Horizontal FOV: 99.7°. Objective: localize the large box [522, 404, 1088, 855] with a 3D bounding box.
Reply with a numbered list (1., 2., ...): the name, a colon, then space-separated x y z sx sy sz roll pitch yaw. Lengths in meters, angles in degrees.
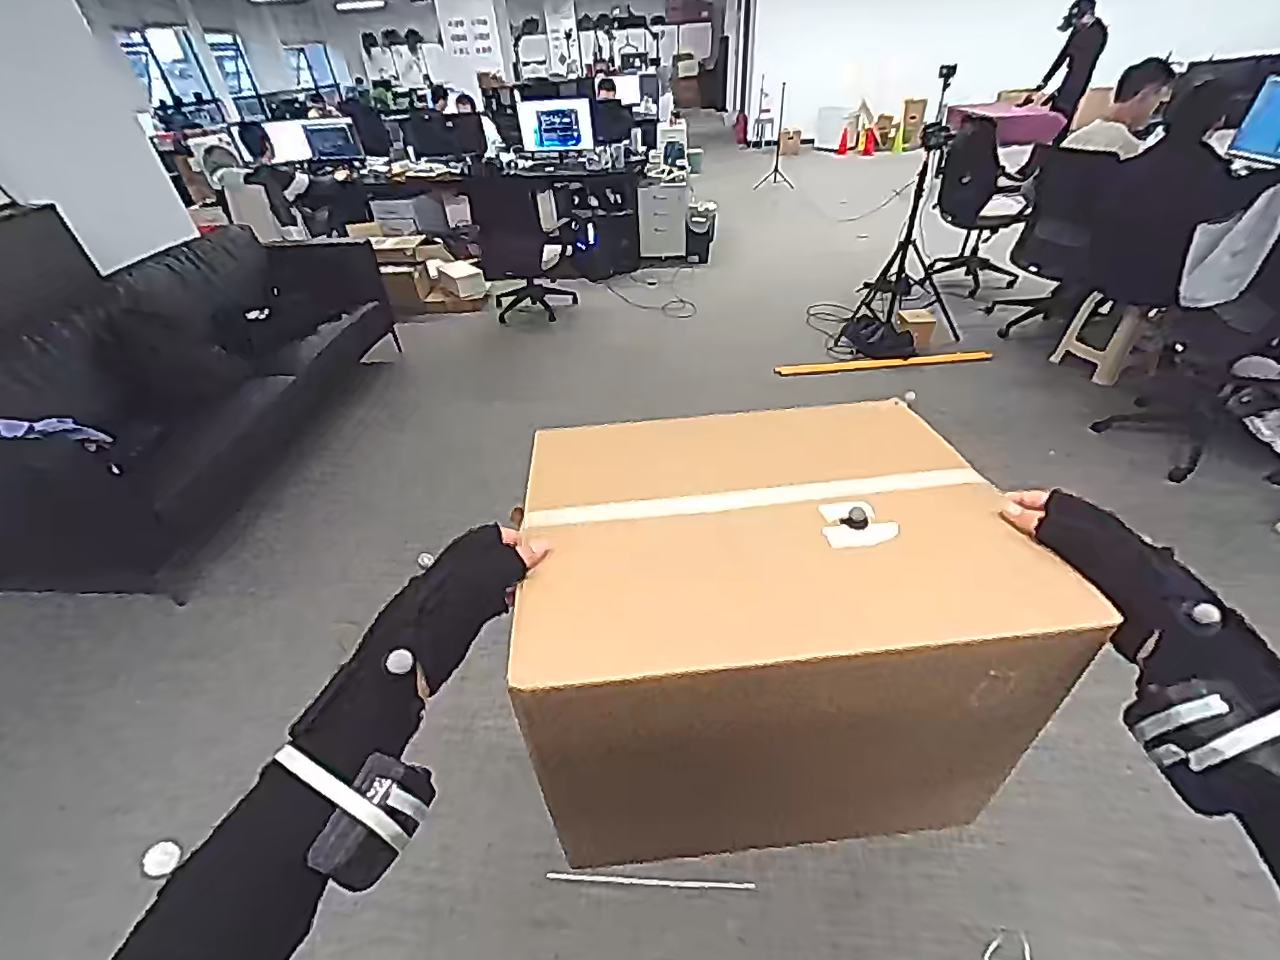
1. large box: 0.107 0.140 0.569 0.408 0.320 0.320 -5 37 -3
